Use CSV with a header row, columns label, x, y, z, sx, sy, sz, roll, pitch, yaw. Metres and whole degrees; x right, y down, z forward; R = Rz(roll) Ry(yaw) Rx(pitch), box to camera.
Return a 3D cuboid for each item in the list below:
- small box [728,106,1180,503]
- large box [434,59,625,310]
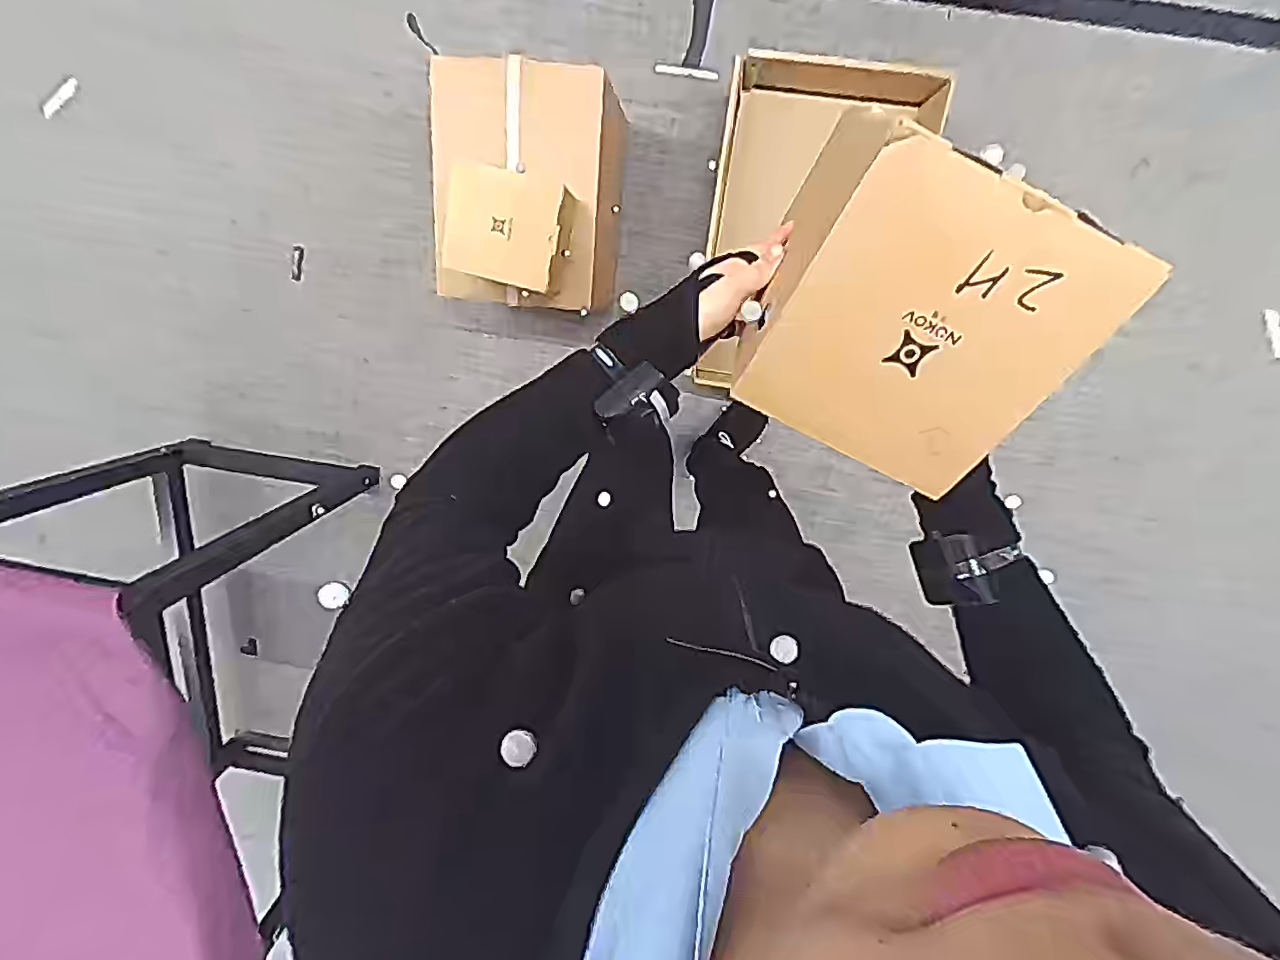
label,x,y,z,sx,sy,sz,roll,pitch,yaw
small box,0.181,-0.124,0.375,0.168,0.176,0.179,27,125,-4
large box,-0.209,-0.584,1.135,0.320,0.320,0.408,7,110,4
